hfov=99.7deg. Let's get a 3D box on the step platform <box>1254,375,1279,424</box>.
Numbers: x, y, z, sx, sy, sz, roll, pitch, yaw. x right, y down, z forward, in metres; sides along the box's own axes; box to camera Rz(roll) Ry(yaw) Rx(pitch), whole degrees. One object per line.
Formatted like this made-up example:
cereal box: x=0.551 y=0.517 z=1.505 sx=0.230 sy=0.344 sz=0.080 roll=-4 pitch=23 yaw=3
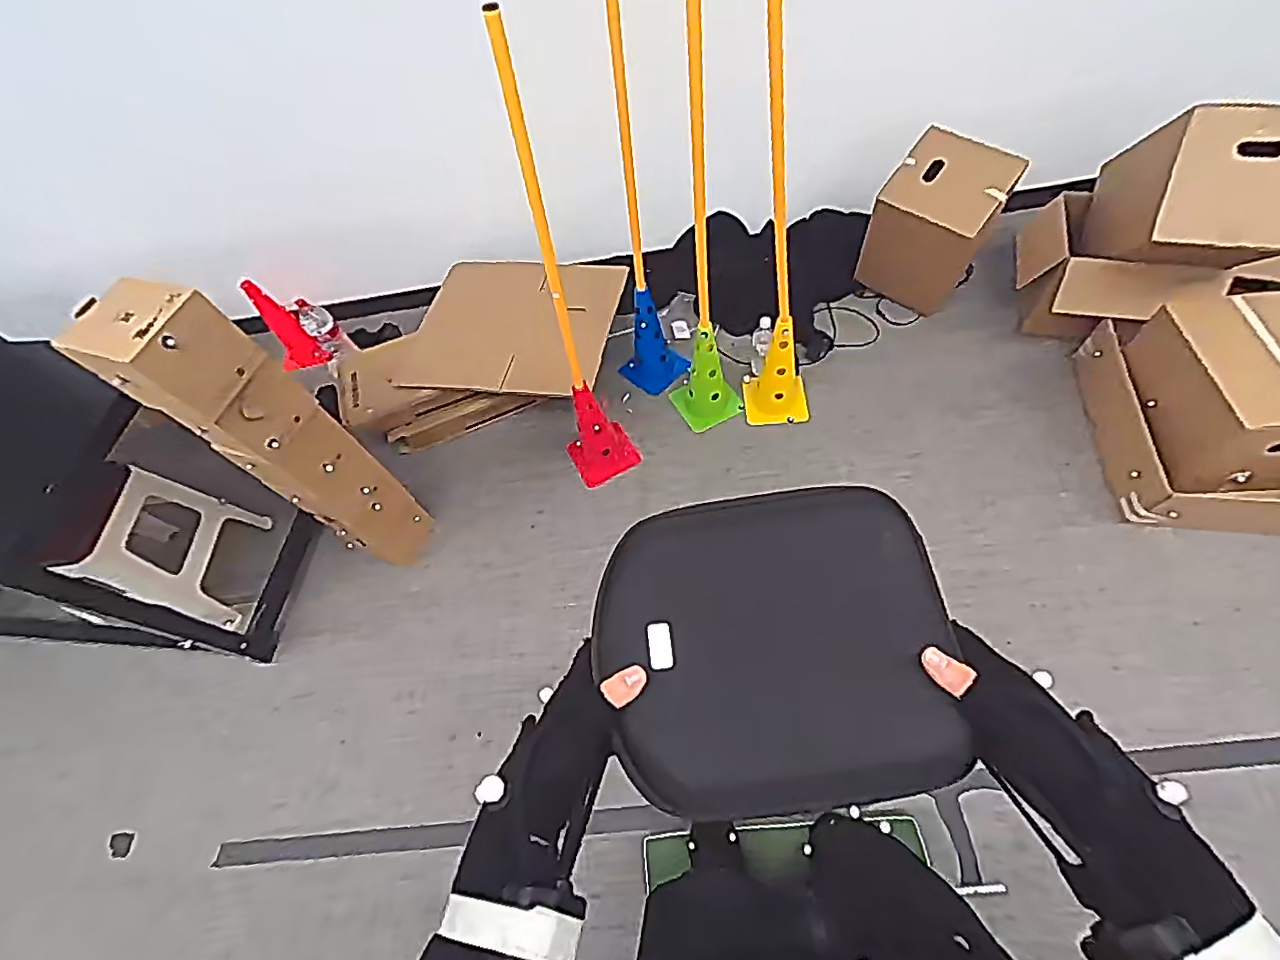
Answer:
step platform: x=2.152 y=-0.358 z=1.532 sx=0.684 sy=0.204 sz=0.286 roll=-33 pitch=62 yaw=-10
